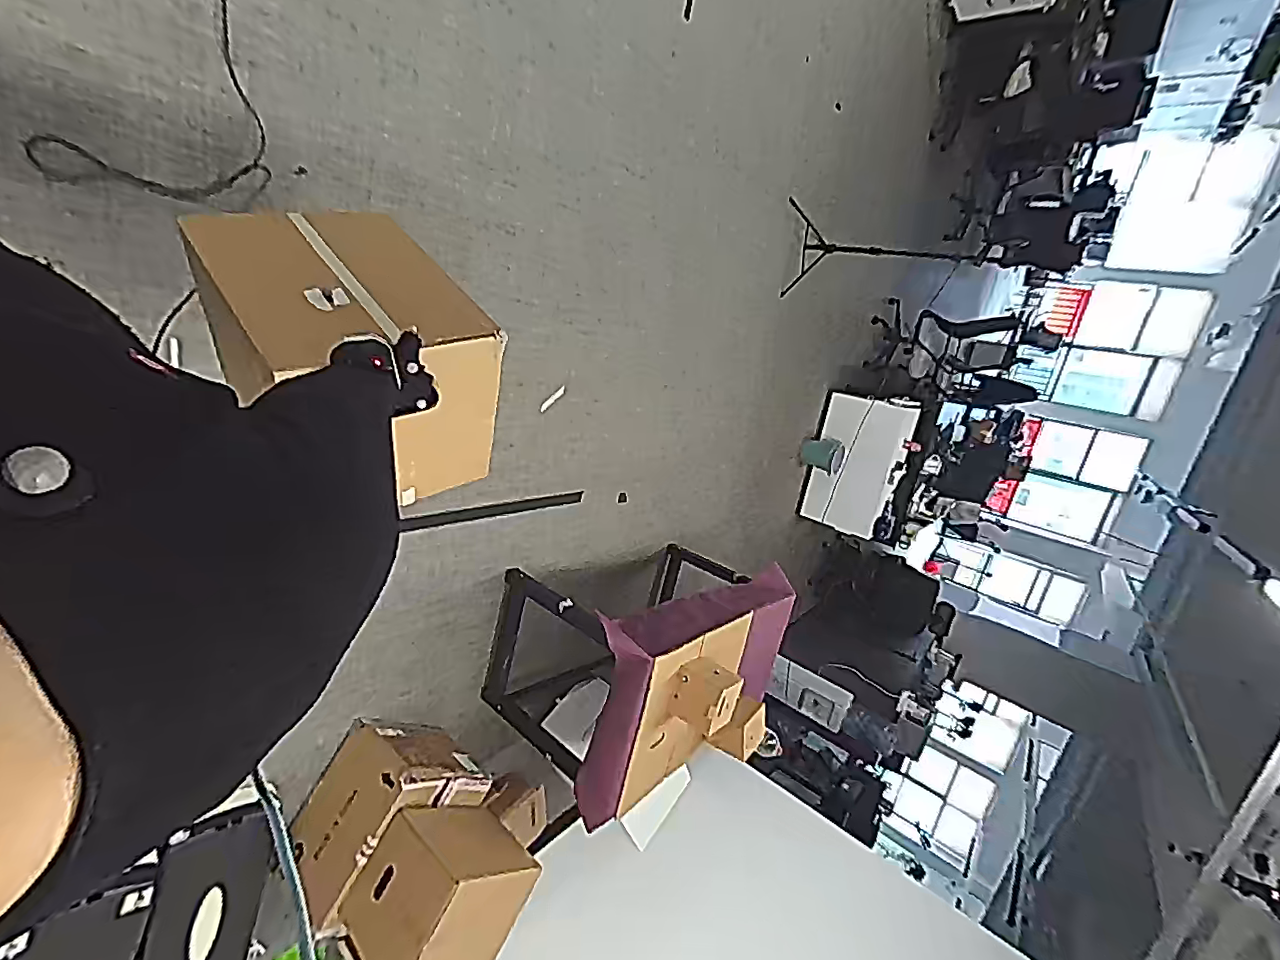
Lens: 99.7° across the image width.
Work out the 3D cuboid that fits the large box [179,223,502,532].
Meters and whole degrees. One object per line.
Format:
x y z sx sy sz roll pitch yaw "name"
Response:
-0.492 -0.191 0.921 0.320 0.408 0.320 -26 150 -38 "large box"
